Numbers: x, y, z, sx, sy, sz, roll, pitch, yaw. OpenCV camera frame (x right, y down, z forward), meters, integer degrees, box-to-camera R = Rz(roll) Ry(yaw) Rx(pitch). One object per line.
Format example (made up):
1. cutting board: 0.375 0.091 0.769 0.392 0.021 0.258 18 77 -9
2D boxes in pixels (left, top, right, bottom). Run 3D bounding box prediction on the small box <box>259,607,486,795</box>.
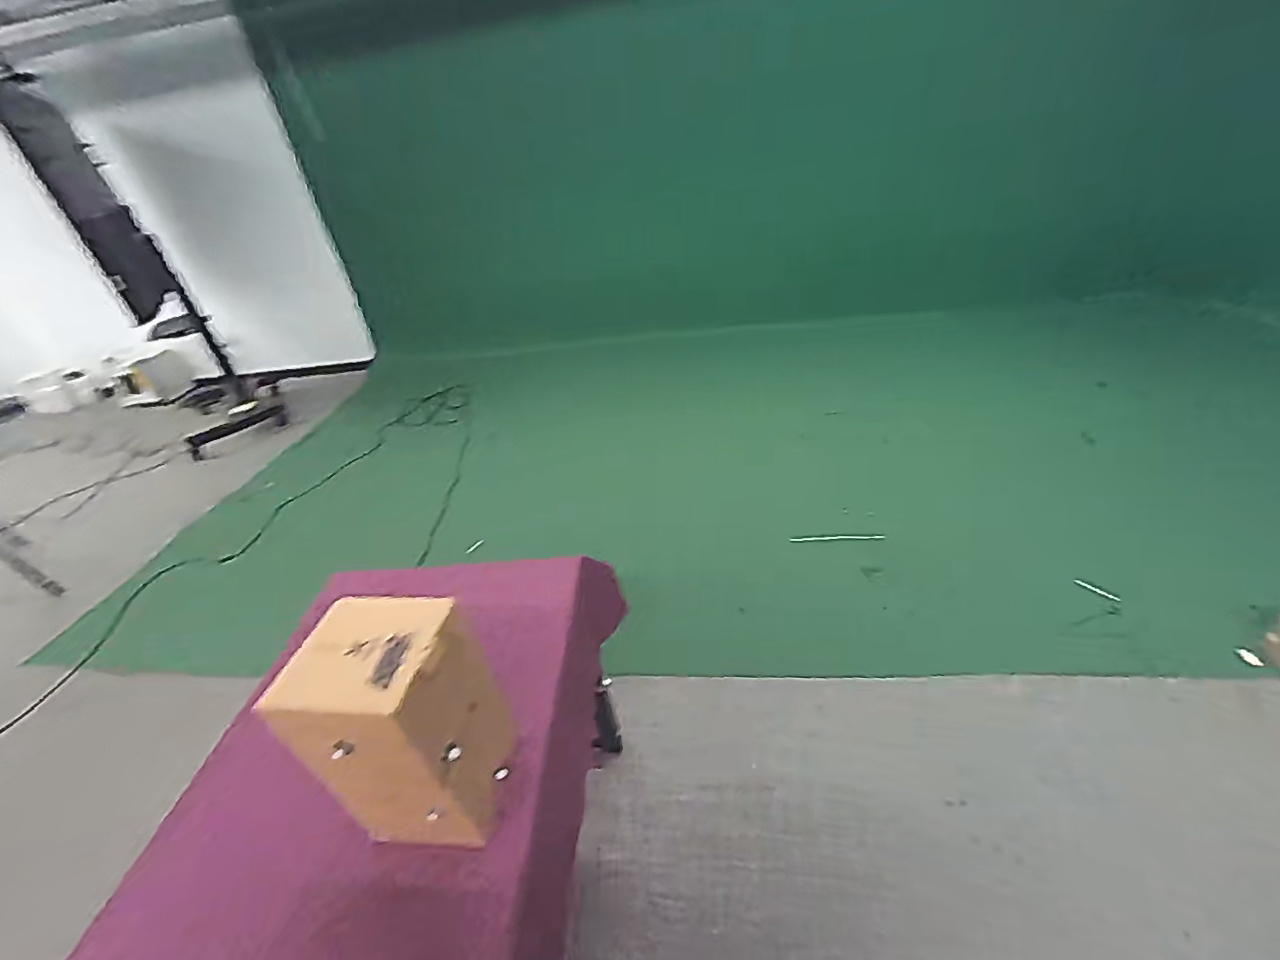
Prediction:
1. small box: -0.324 0.284 0.701 0.179 0.176 0.168 -4 34 11
